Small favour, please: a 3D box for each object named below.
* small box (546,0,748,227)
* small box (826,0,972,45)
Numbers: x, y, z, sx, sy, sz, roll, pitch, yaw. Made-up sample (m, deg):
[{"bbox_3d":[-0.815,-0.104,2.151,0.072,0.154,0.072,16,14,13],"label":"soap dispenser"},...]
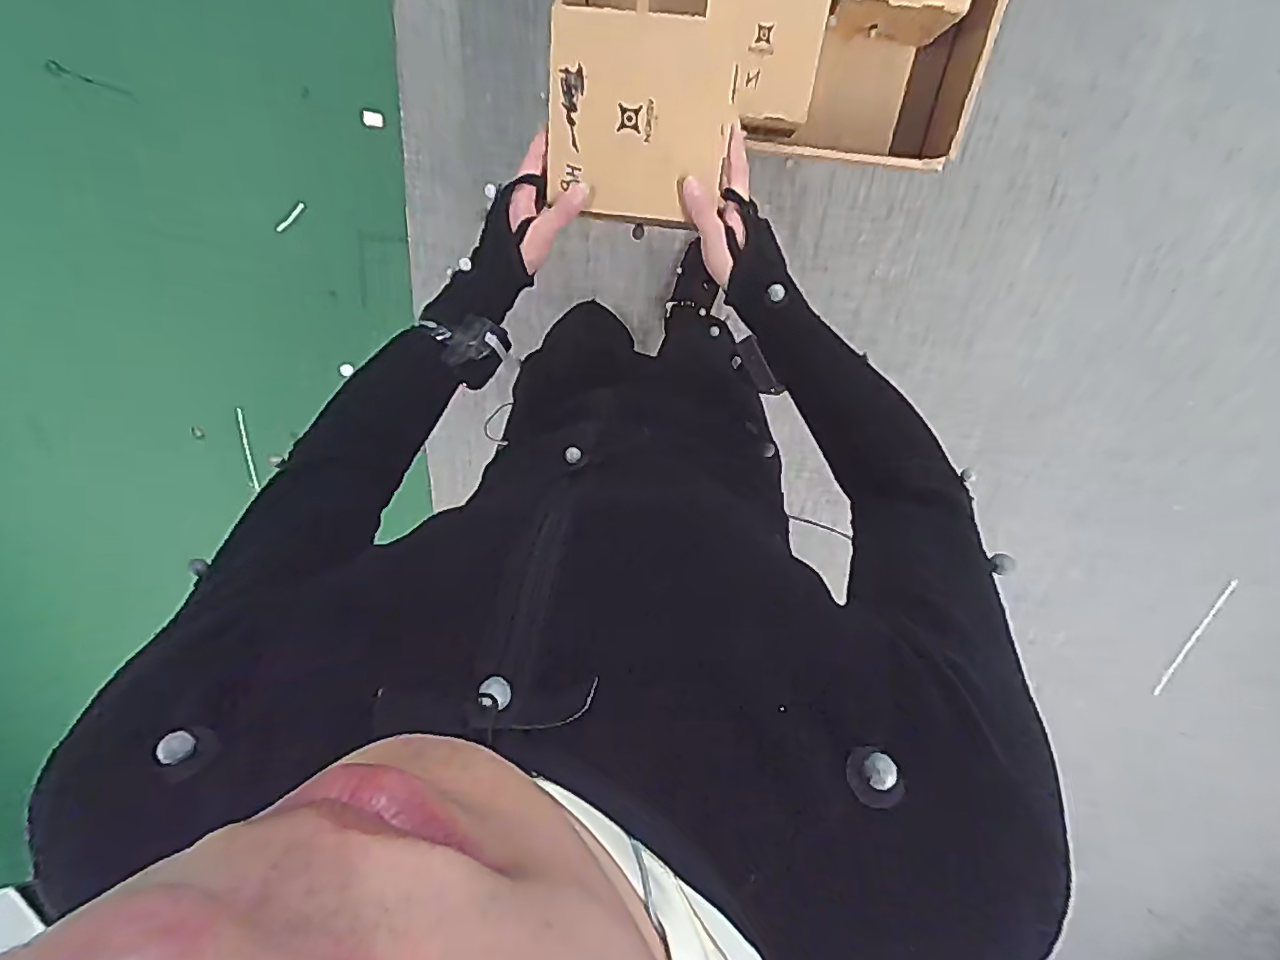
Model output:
[{"bbox_3d":[0.005,-0.373,0.583,0.179,0.176,0.168,7,113,1],"label":"small box"},{"bbox_3d":[0.370,-0.737,0.742,0.168,0.176,0.179,10,118,3],"label":"small box"}]
